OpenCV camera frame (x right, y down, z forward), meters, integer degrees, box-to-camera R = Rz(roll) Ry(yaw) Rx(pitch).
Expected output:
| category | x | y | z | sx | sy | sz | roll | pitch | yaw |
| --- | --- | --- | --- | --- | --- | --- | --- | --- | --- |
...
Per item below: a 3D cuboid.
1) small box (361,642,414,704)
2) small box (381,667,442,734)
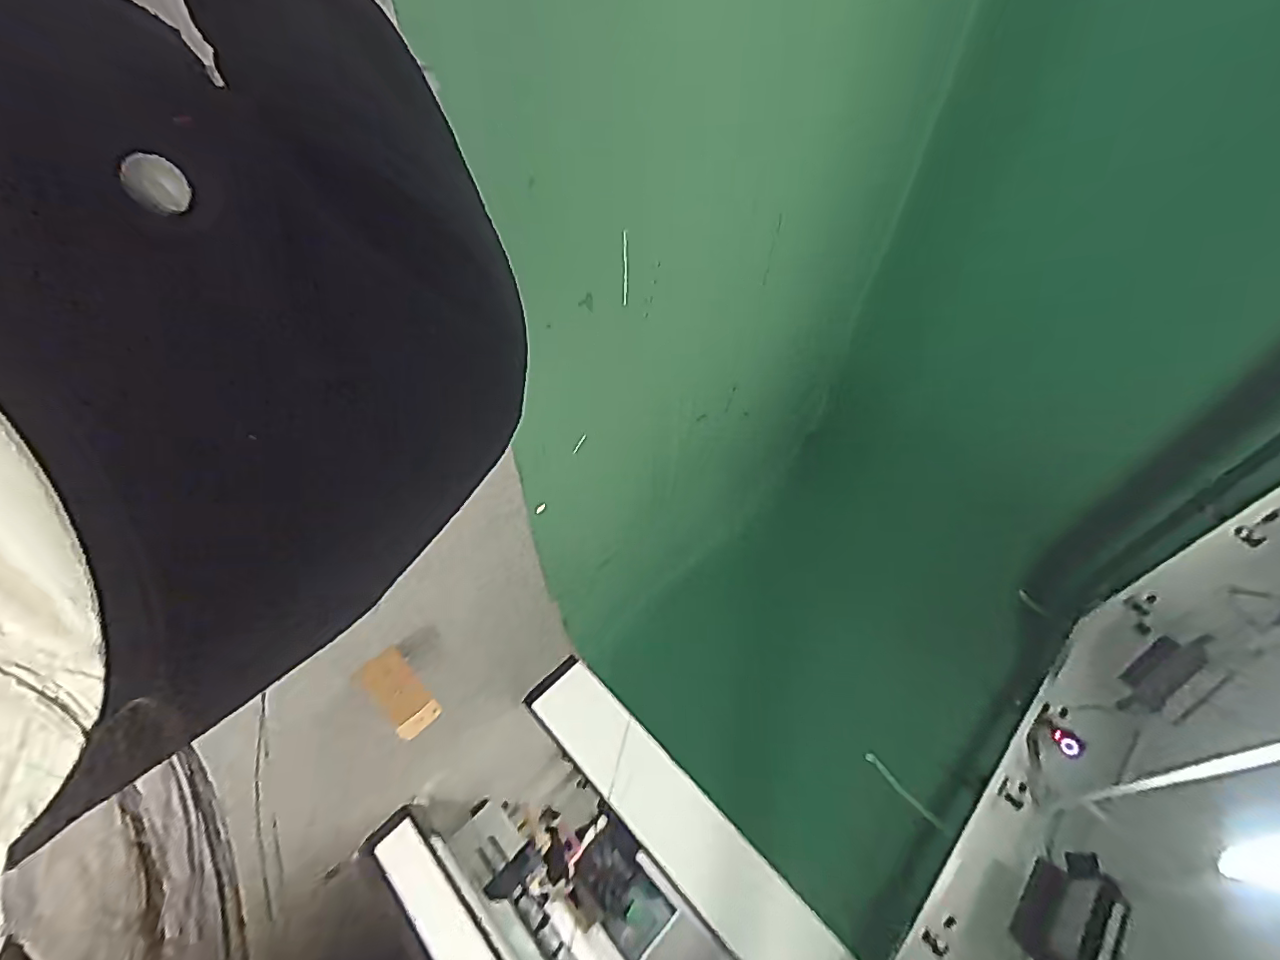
| category | x | y | z | sx | sy | sz | roll | pitch | yaw |
| --- | --- | --- | --- | --- | --- | --- | --- | --- | --- |
| small box | -1.110 | 0.858 | 2.400 | 0.179 | 0.176 | 0.168 | -36 | 150 | -26 |
| small box | -0.991 | 0.951 | 2.336 | 0.179 | 0.176 | 0.168 | -35 | 149 | -29 |
